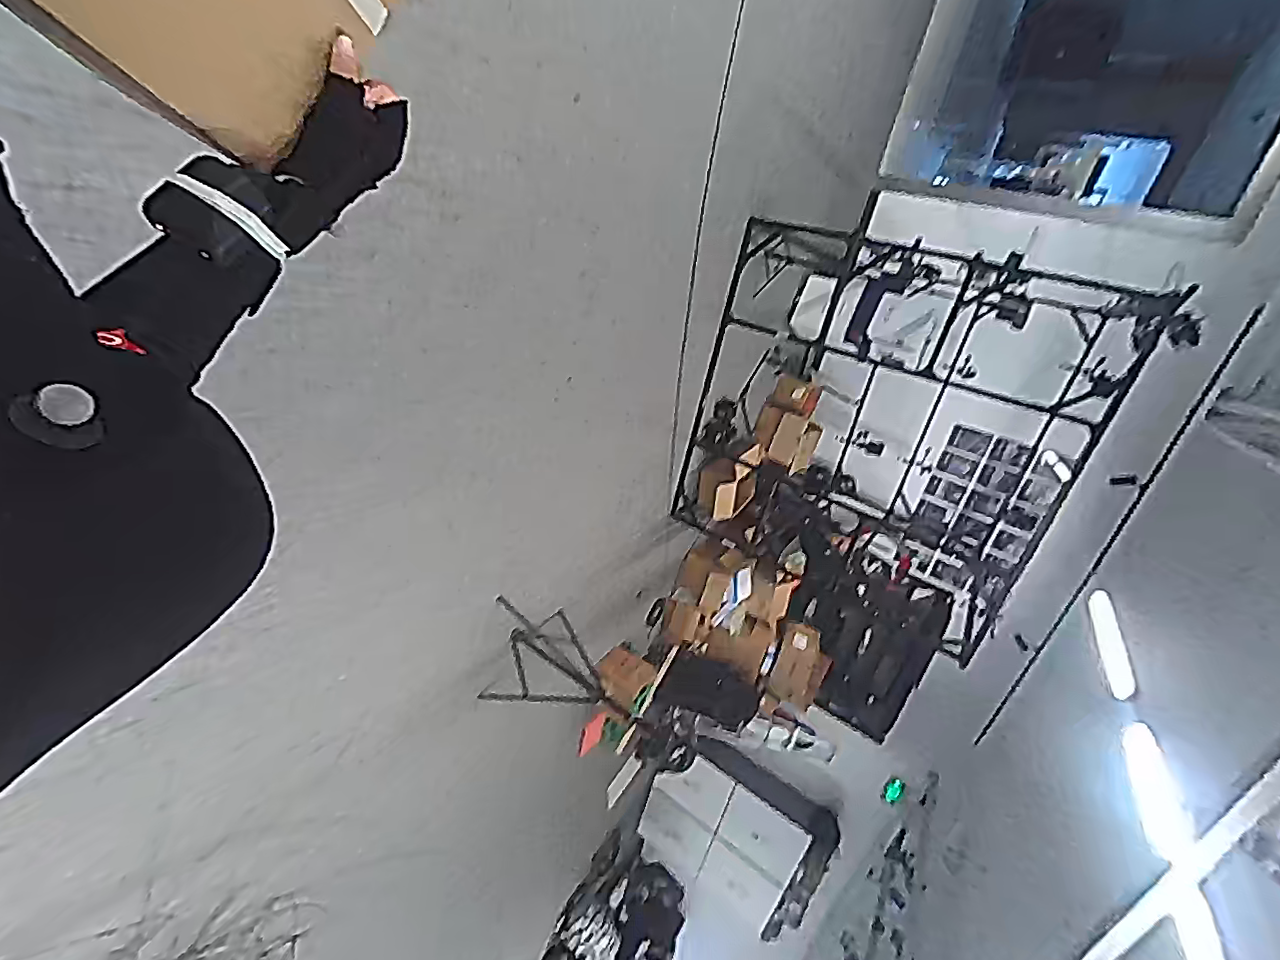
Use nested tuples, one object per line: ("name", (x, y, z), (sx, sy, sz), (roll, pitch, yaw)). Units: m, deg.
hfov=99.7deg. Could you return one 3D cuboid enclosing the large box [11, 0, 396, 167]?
("large box", (-0.397, -0.501, 0.327), (0.320, 0.320, 0.408), (-55, 156, -1))
